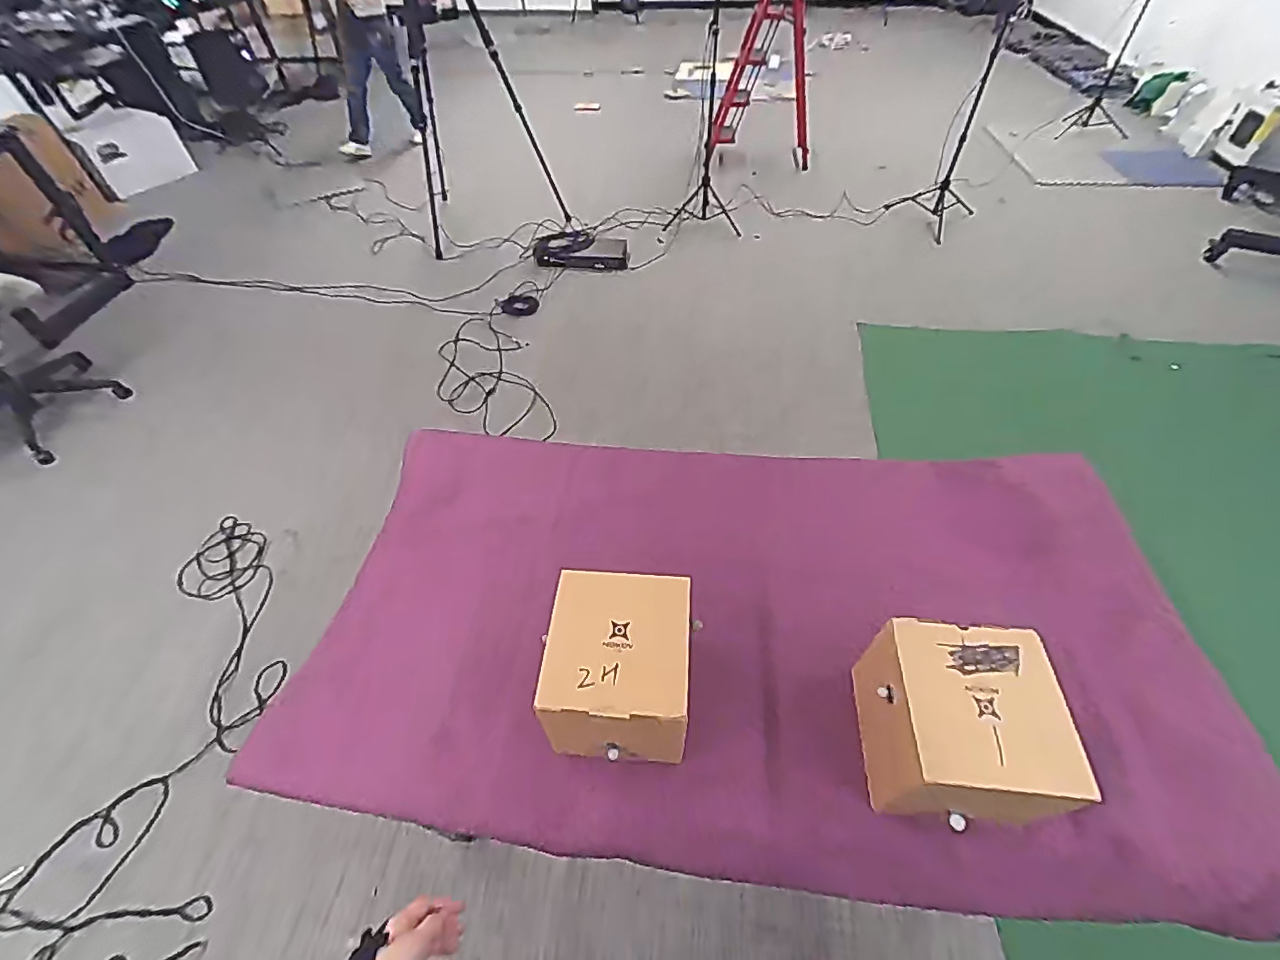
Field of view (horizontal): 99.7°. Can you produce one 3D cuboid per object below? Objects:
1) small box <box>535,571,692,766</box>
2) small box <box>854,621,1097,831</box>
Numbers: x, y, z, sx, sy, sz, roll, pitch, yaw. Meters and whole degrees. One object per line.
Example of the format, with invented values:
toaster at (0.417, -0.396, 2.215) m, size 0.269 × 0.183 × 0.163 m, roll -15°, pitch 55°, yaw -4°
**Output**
small box at (-0.024, 0.238, 0.685) m, size 0.168 × 0.176 × 0.179 m, roll 3°, pitch 48°, yaw 4°
small box at (0.366, 0.289, 0.635) m, size 0.168 × 0.176 × 0.179 m, roll 4°, pitch 50°, yaw 5°
